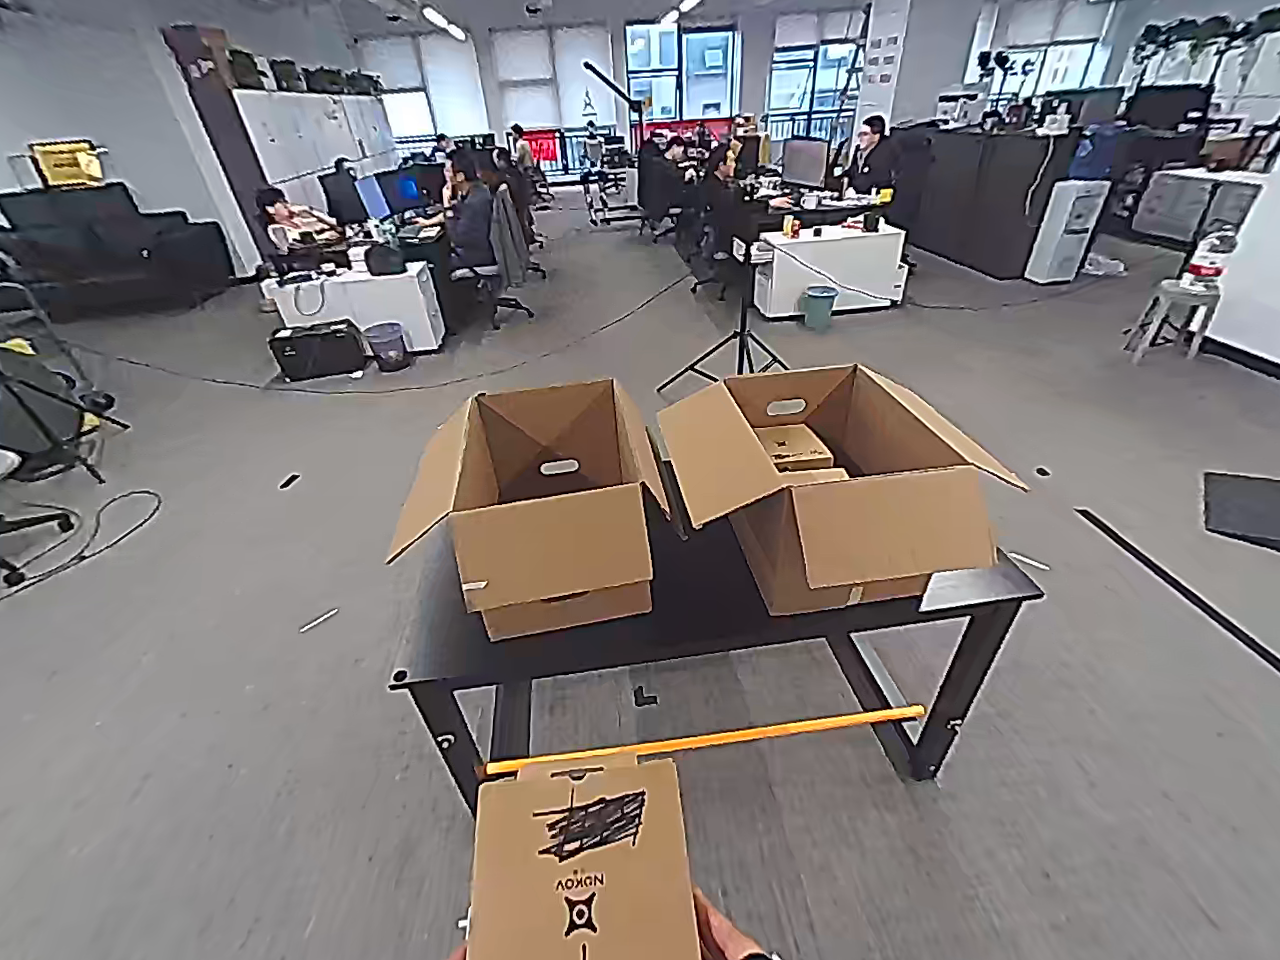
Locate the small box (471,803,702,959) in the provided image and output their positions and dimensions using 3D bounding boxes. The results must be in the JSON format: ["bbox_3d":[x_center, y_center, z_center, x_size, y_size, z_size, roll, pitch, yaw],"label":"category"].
[{"bbox_3d":[-0.037,0.392,0.445,0.168,0.176,0.179,-6,48,-3],"label":"small box"}]
